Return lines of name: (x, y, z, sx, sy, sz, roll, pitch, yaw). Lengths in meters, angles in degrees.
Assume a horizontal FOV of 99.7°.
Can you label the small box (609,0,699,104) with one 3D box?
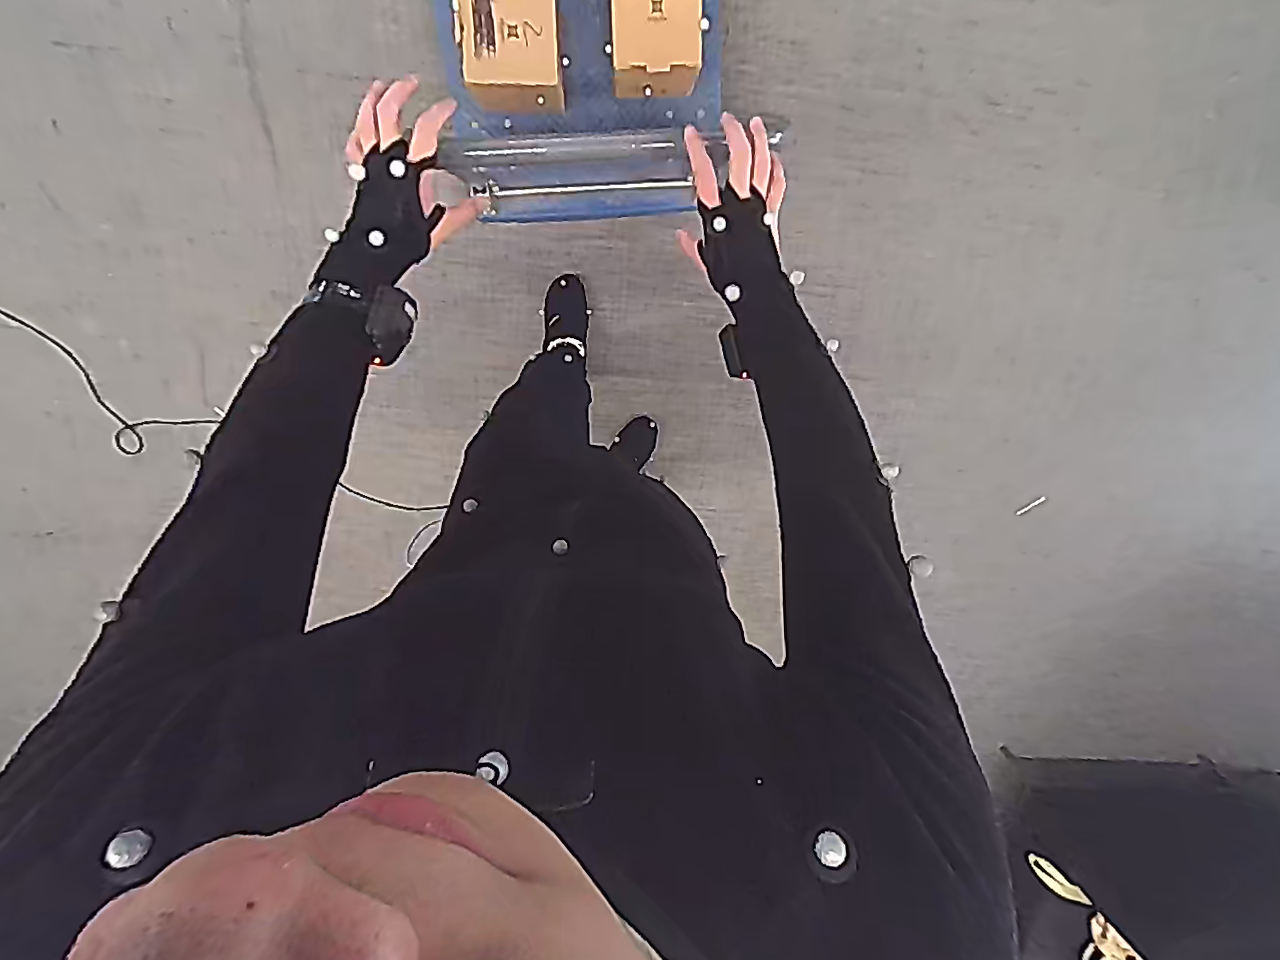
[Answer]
small box: (0.024, -0.879, 1.075, 0.168, 0.176, 0.179, -3, 110, -2)
